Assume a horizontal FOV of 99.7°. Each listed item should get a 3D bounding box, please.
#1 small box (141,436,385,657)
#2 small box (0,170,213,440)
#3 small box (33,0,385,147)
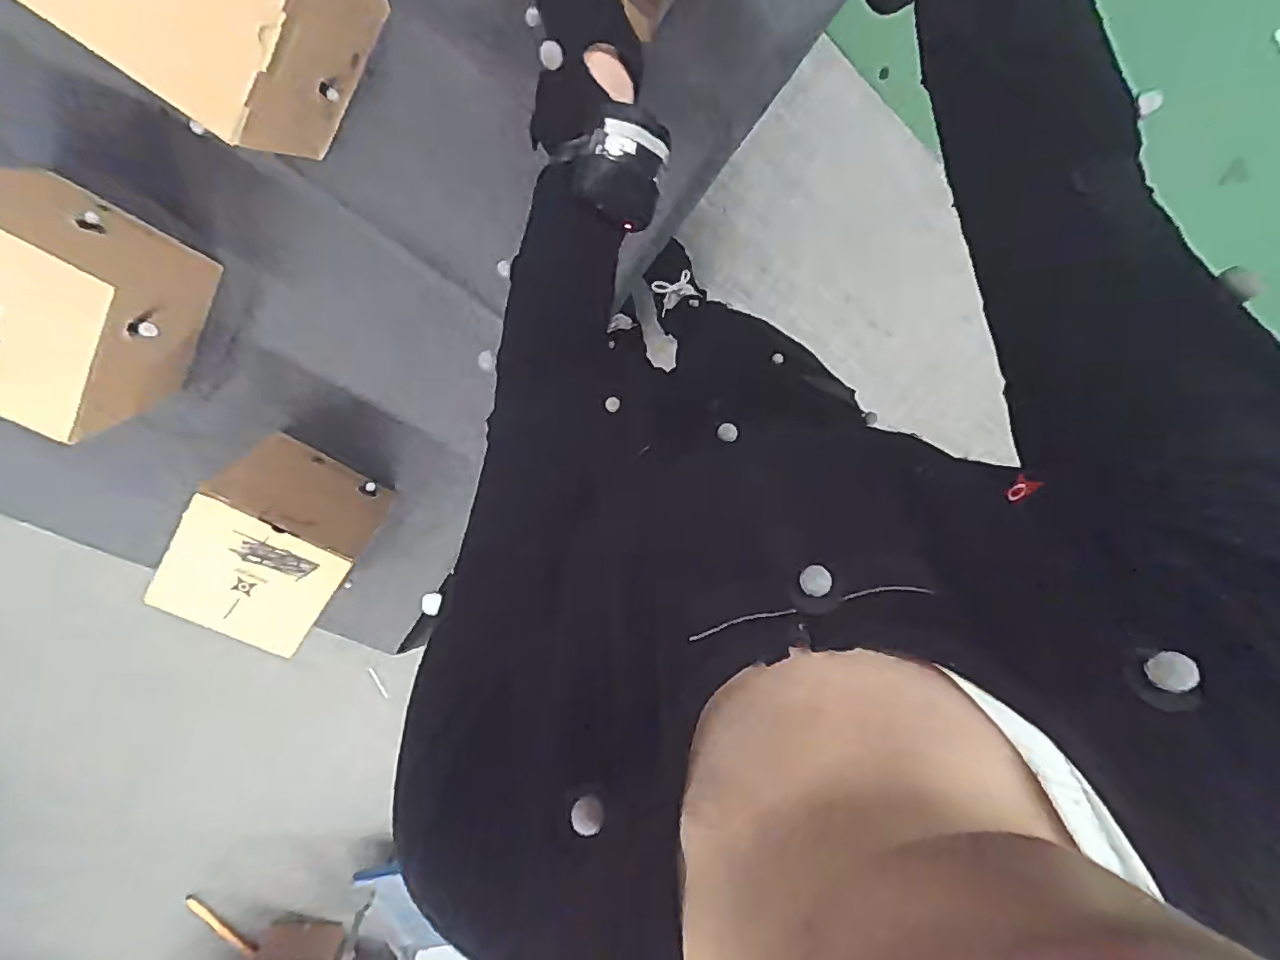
[{"bbox_3d":[-0.446,0.075,0.672,0.168,0.176,0.179,33,109,-20],"label":"small box"},{"bbox_3d":[-0.566,-0.176,0.526,0.168,0.176,0.179,30,110,-21],"label":"small box"},{"bbox_3d":[-0.346,-0.405,0.443,0.179,0.176,0.168,32,109,-21],"label":"small box"}]
